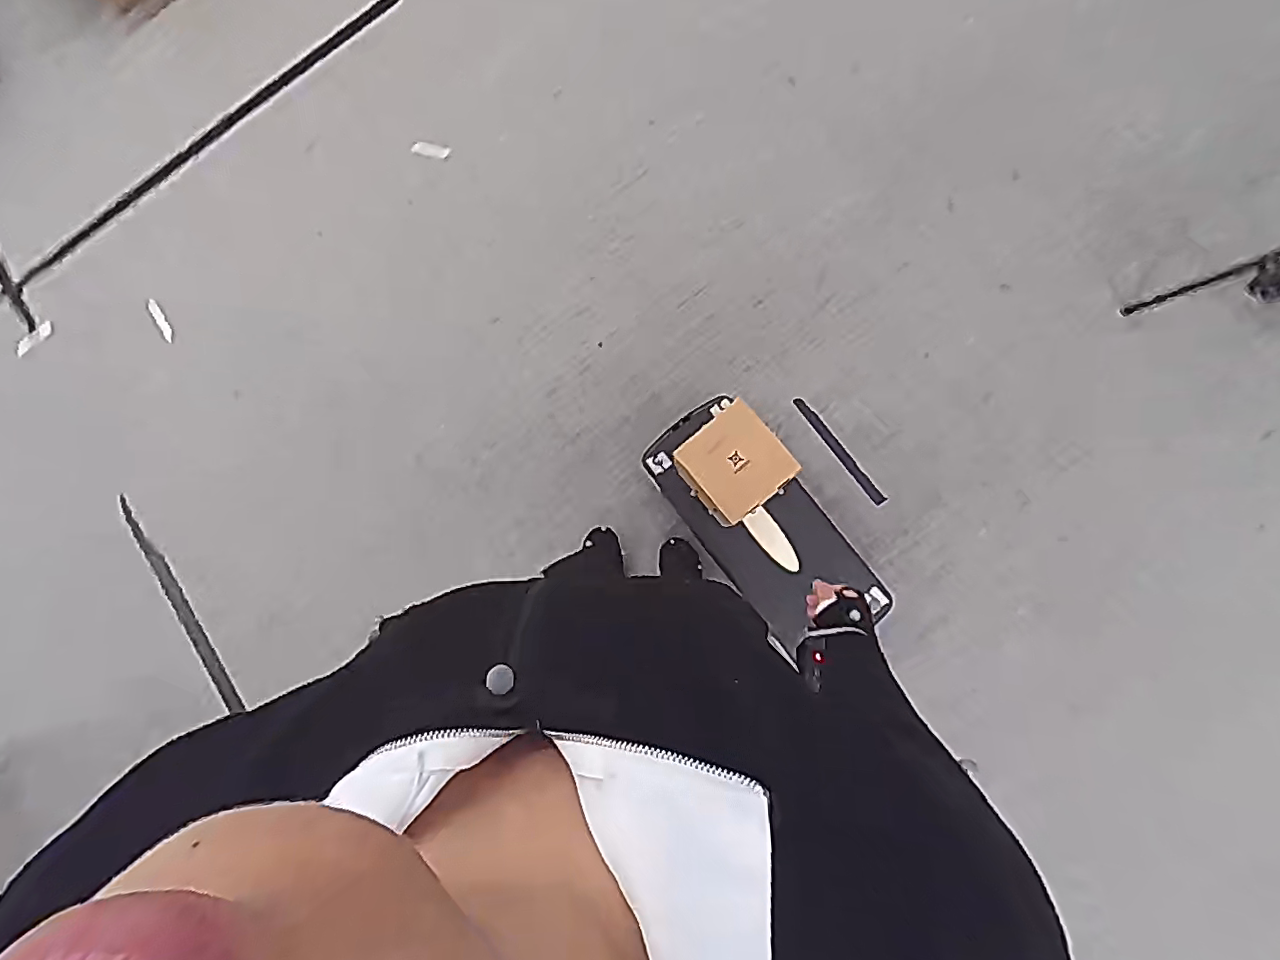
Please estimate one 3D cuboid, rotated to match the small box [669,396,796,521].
[{"bbox_3d":[0.176,-0.036,1.068,0.168,0.176,0.179,-40,83,0],"label":"small box"}]
